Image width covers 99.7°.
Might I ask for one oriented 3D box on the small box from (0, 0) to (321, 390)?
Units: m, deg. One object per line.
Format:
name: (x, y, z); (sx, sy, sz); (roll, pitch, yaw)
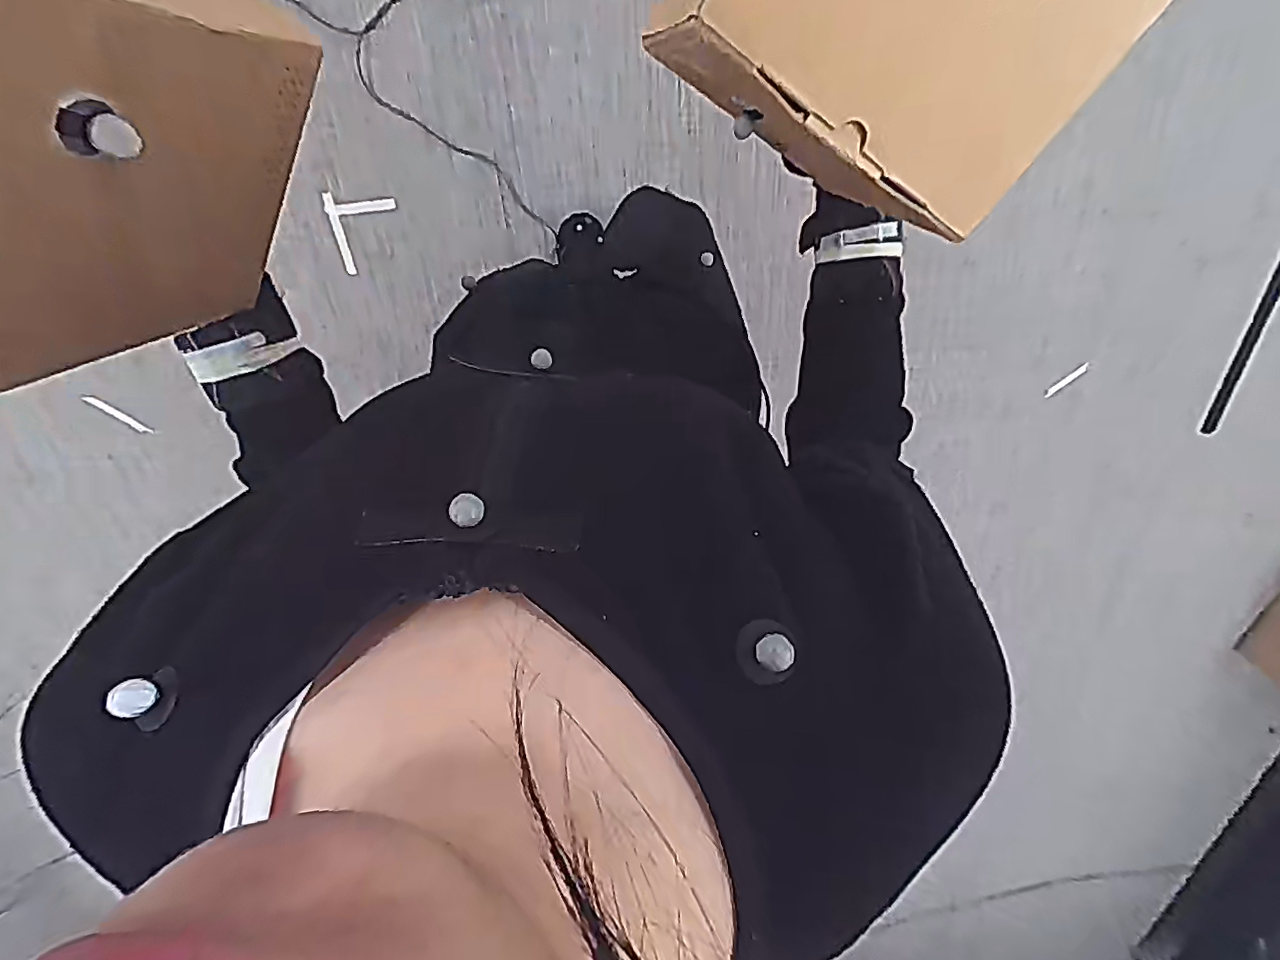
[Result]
small box: (-0.285, -0.180, 0.244); (0.168, 0.176, 0.179); (35, 121, -12)

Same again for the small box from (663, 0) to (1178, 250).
small box: (0.127, -0.254, 0.267); (0.168, 0.176, 0.179); (23, 121, -23)
